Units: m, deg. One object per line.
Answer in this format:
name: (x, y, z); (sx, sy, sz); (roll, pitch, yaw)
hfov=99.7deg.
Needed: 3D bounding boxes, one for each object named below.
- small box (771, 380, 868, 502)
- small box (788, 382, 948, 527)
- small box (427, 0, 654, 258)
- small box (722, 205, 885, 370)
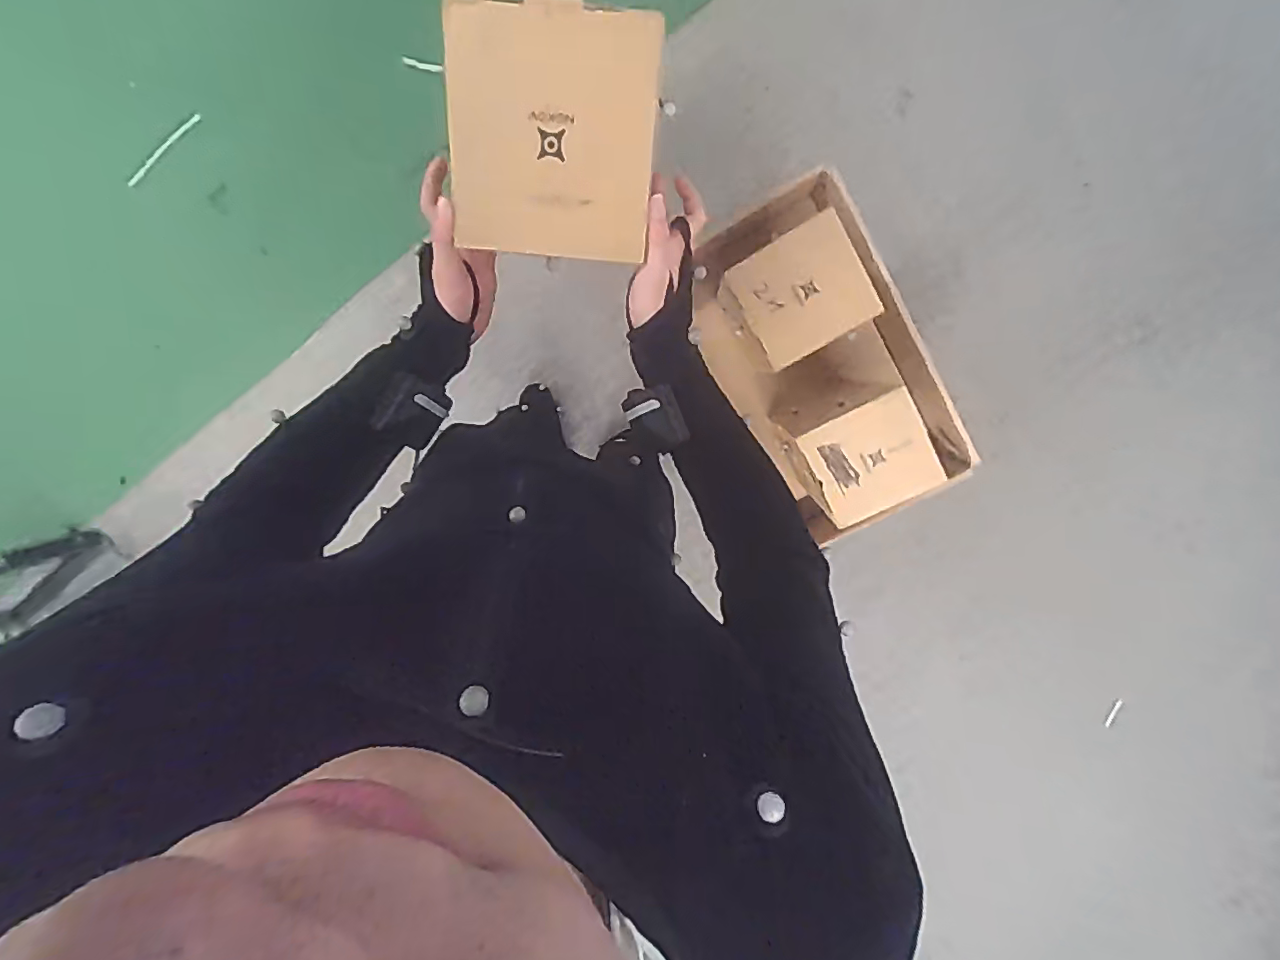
small box: (0.371, -0.084, 1.043); (0.179, 0.176, 0.168); (-27, 98, 12)
small box: (0.355, -0.049, 0.883); (0.179, 0.176, 0.168); (-26, 99, 11)
small box: (-0.078, -0.303, 0.491); (0.168, 0.176, 0.179); (5, 114, -1)
small box: (0.240, -0.287, 0.842); (0.179, 0.176, 0.168); (-28, 97, 11)
